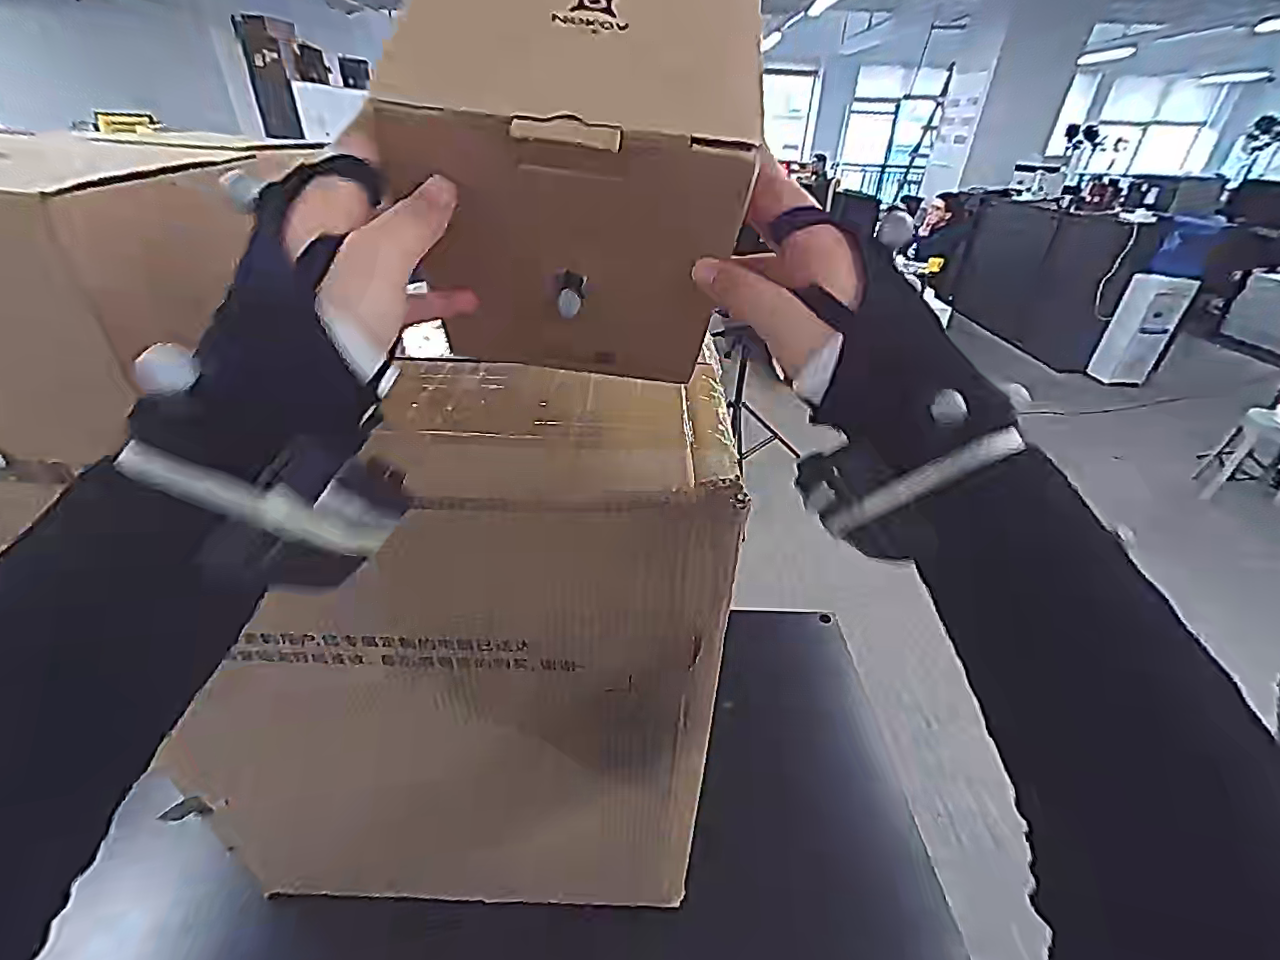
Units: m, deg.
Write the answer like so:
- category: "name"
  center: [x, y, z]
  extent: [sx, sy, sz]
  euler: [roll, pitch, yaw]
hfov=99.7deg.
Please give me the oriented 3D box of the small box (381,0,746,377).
- category: "small box"
  center: [-0.032, -0.187, 0.346]
  extent: [0.168, 0.176, 0.179]
  euler: [6, 64, -2]

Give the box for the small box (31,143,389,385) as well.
- category: "small box"
  center: [-0.350, -0.201, 0.492]
  extent: [0.168, 0.176, 0.179]
  euler: [4, 33, 2]
